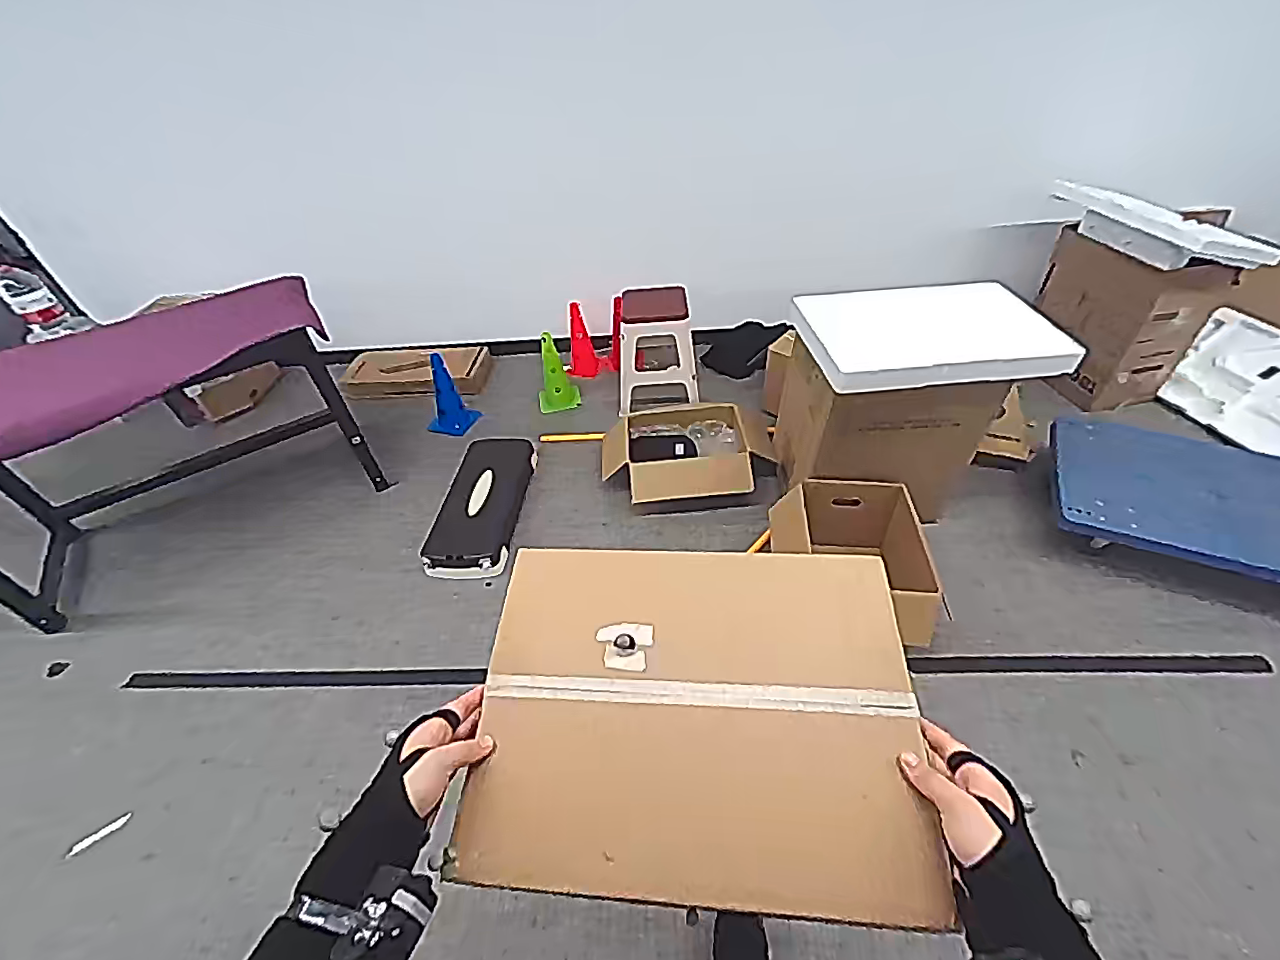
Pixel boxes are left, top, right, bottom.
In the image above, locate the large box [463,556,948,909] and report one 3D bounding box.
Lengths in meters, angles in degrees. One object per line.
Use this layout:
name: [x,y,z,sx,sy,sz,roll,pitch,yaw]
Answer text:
large box: [0.068,0.301,0.646,0.408,0.320,0.320,-1,51,7]
